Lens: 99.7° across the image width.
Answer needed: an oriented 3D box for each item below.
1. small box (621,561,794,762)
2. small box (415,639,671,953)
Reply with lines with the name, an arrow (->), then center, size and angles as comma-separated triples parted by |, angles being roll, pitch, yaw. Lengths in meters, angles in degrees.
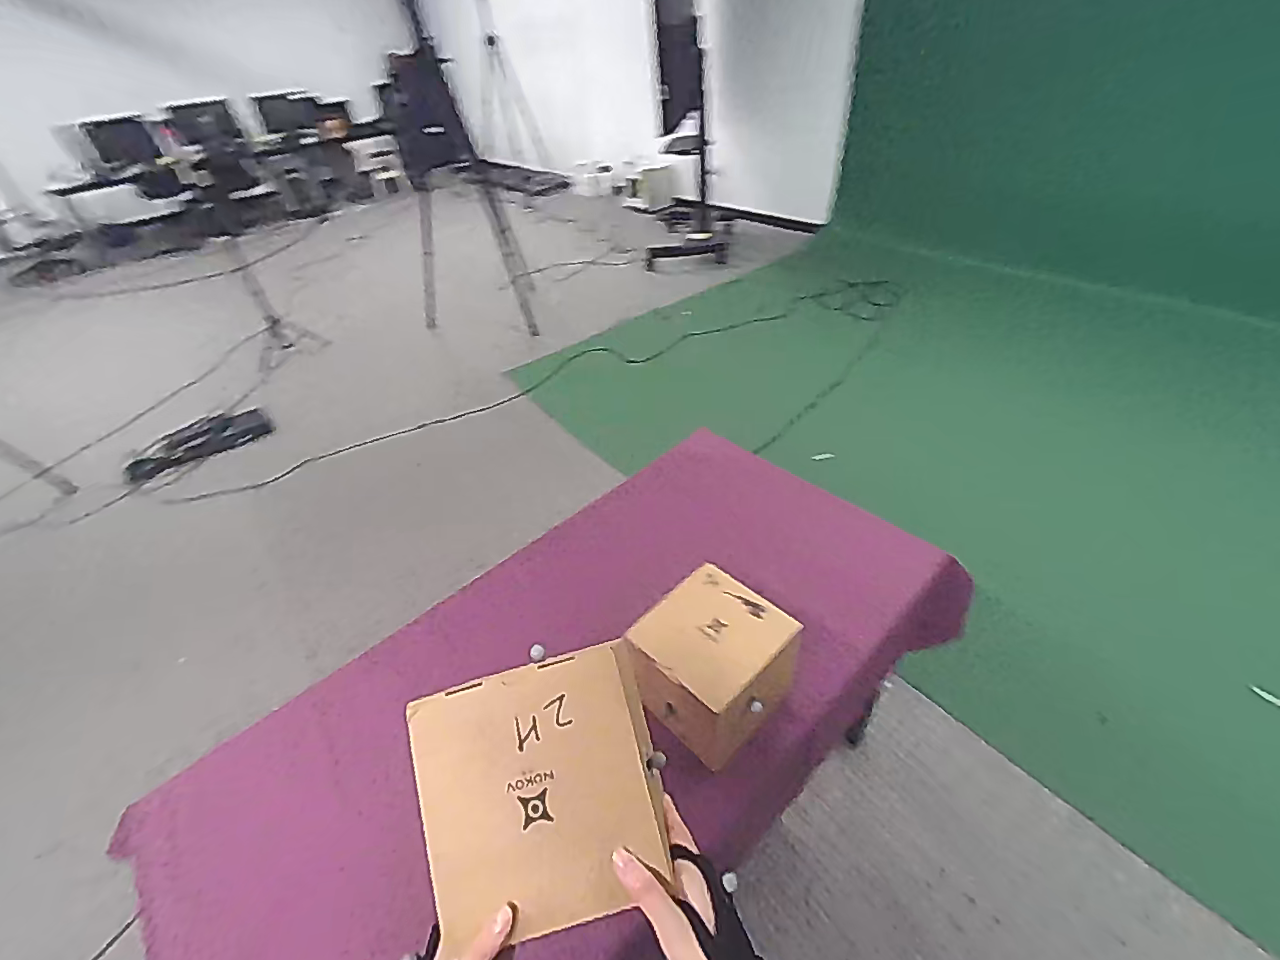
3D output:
small box -> 0.099, 0.258, 0.771 | 0.179, 0.176, 0.168 | -35, 48, -28
small box -> -0.072, 0.247, 0.474 | 0.168, 0.176, 0.179 | -14, 75, -2
